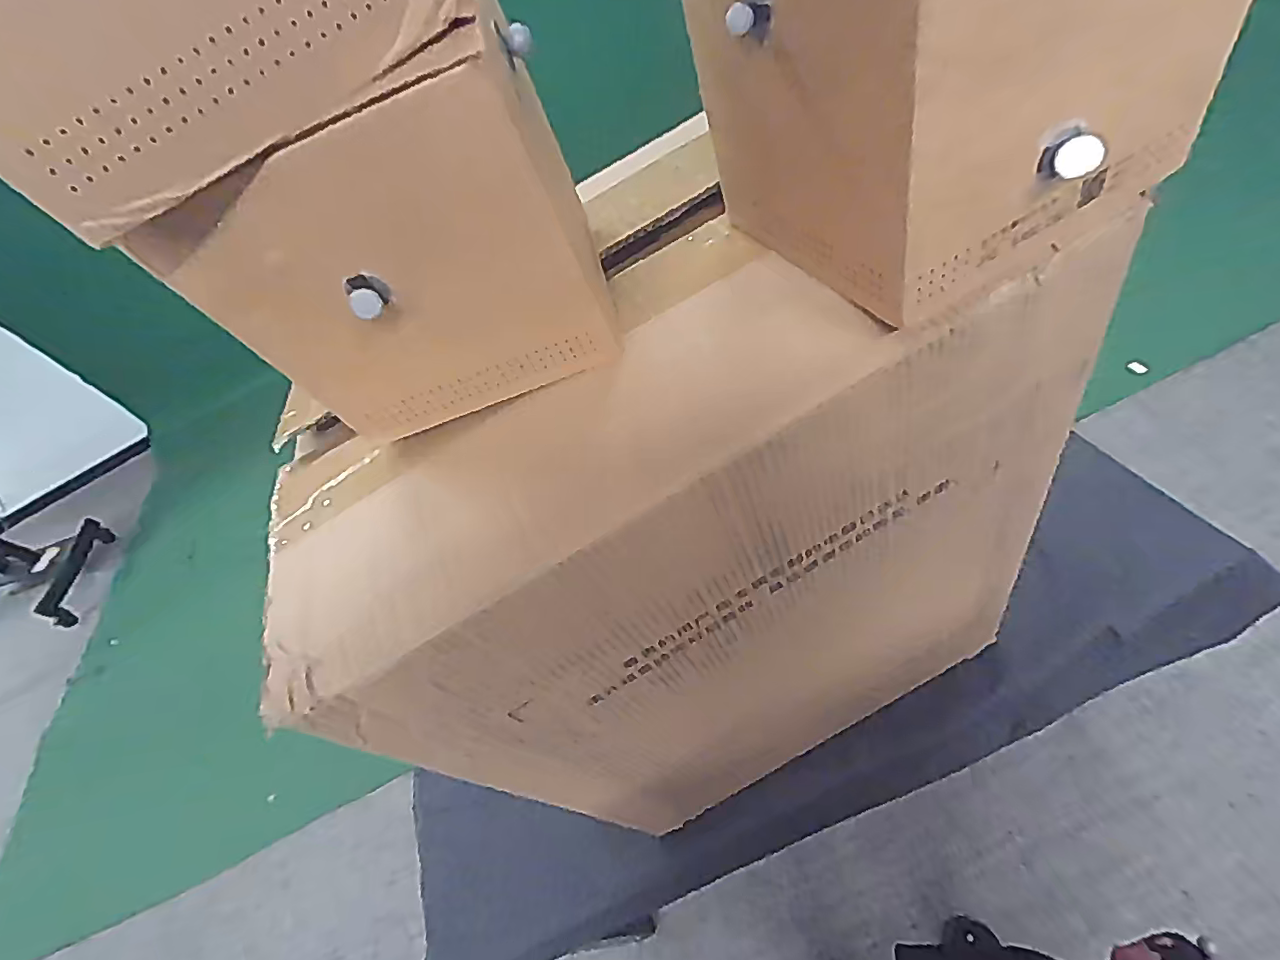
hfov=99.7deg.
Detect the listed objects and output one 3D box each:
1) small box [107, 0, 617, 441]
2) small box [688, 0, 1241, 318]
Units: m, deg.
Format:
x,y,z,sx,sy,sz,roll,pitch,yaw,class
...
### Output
x,y,z,sx,sy,sz,roll,pitch,yaw,class
-0.132,-0.149,0.320,0.179,0.176,0.168,-19,57,9,small box
0.135,-0.211,0.263,0.168,0.176,0.179,-30,49,-1,small box
